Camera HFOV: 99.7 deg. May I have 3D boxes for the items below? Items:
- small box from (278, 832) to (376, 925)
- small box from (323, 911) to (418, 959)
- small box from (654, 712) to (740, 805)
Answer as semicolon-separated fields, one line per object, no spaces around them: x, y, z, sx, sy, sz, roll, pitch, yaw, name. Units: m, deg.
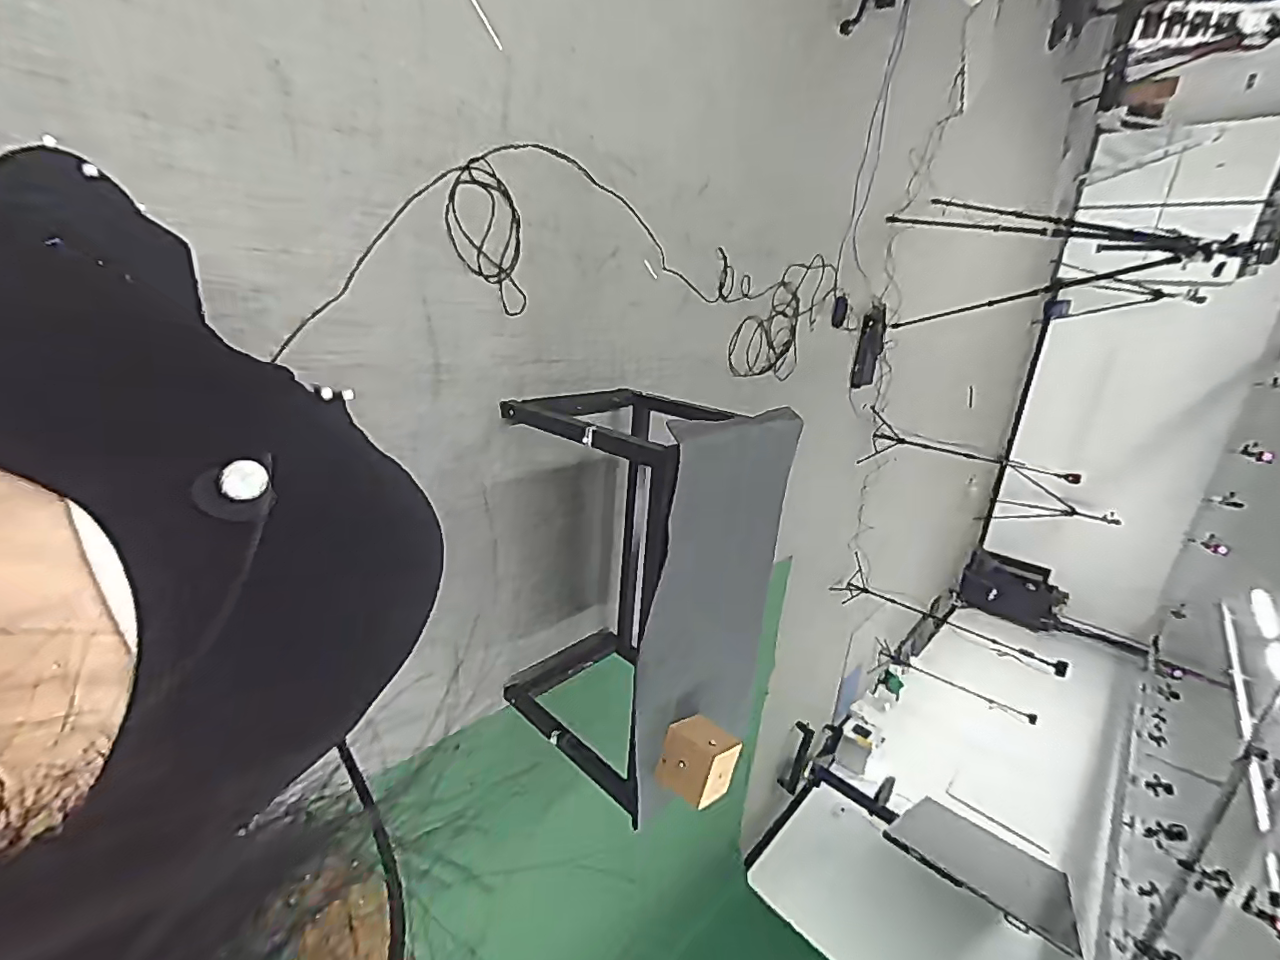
-0.966;1.223;1.666;0.168;0.176;0.179;-55;139;-17;small box
-0.725;1.328;1.468;0.168;0.176;0.179;-41;133;-31;small box
0.168;0.827;1.626;0.179;0.176;0.168;14;95;-53;small box
